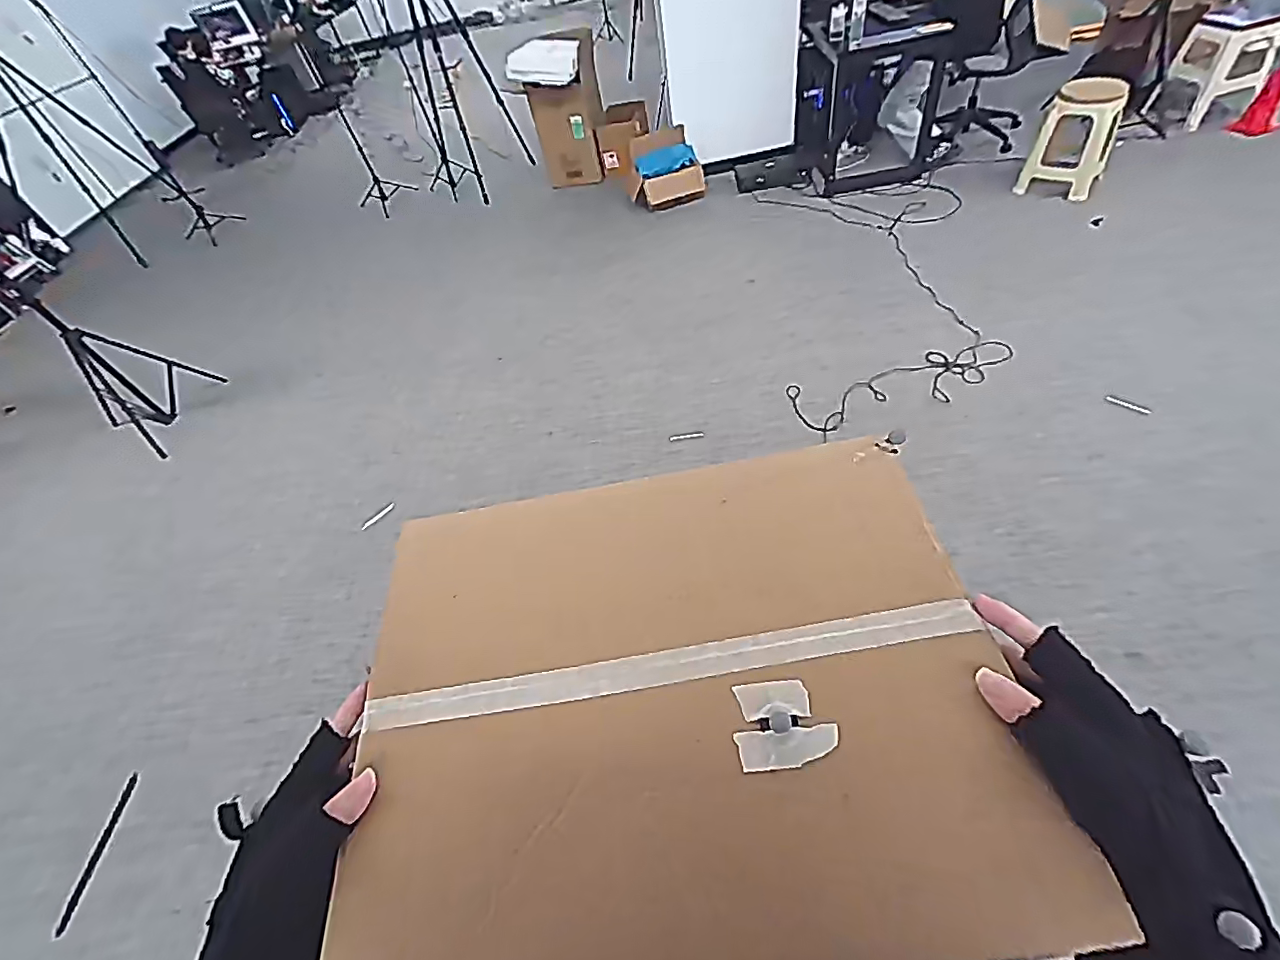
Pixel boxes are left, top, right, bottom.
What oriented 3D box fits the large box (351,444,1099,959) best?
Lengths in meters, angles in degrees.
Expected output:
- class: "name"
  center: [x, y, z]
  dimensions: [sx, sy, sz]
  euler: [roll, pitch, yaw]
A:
- class: "large box"
  center: [0.041, 0.214, 0.484]
  dimensions: [0.408, 0.320, 0.320]
  euler: [-10, 53, 3]
